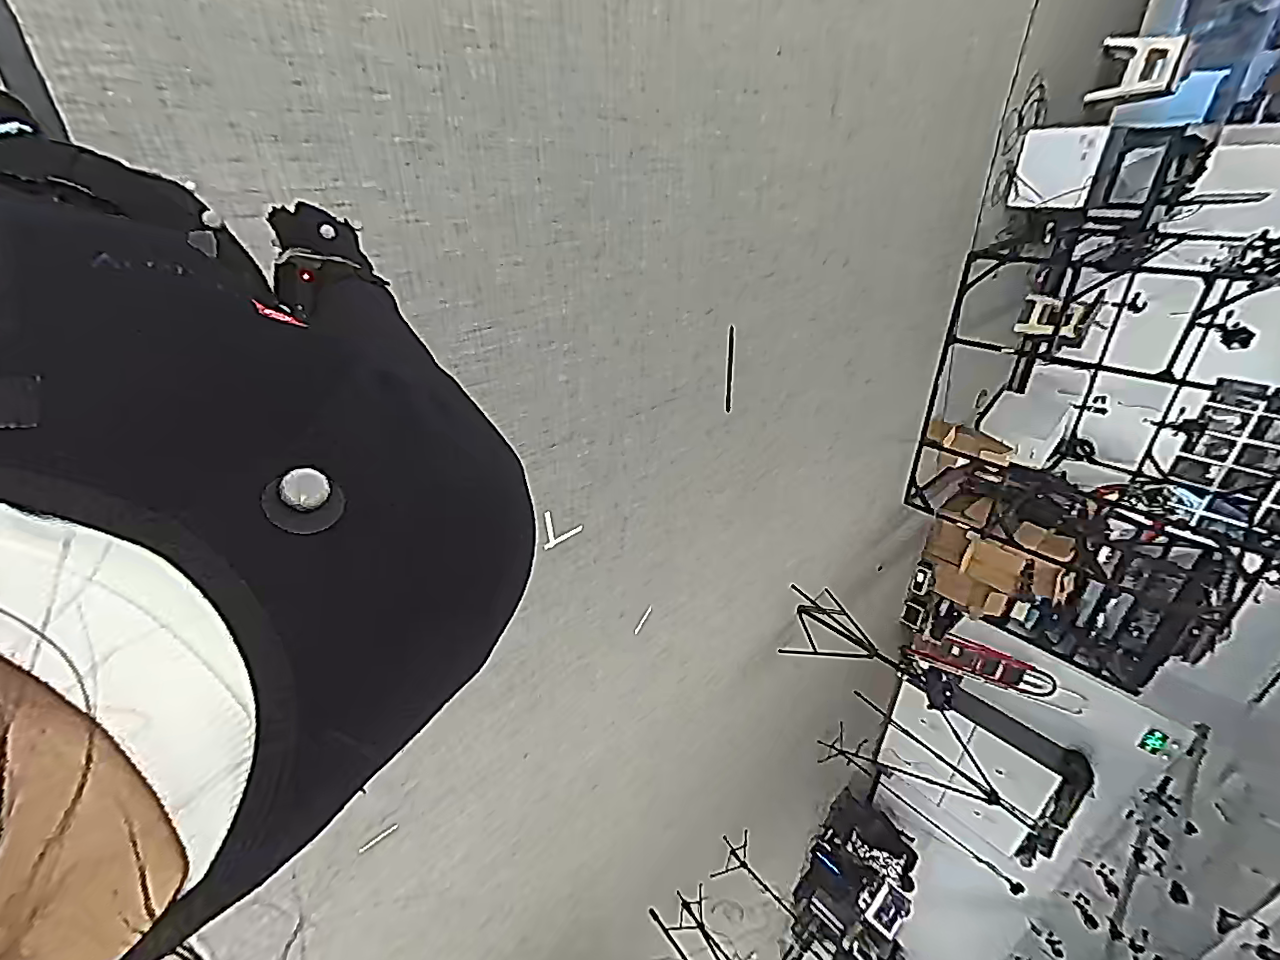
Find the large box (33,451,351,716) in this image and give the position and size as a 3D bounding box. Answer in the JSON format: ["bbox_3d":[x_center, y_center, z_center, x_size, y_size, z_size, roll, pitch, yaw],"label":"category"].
[{"bbox_3d":[-0.927,0.194,1.156,0.408,0.320,0.320,-33,133,-31],"label":"large box"}]
